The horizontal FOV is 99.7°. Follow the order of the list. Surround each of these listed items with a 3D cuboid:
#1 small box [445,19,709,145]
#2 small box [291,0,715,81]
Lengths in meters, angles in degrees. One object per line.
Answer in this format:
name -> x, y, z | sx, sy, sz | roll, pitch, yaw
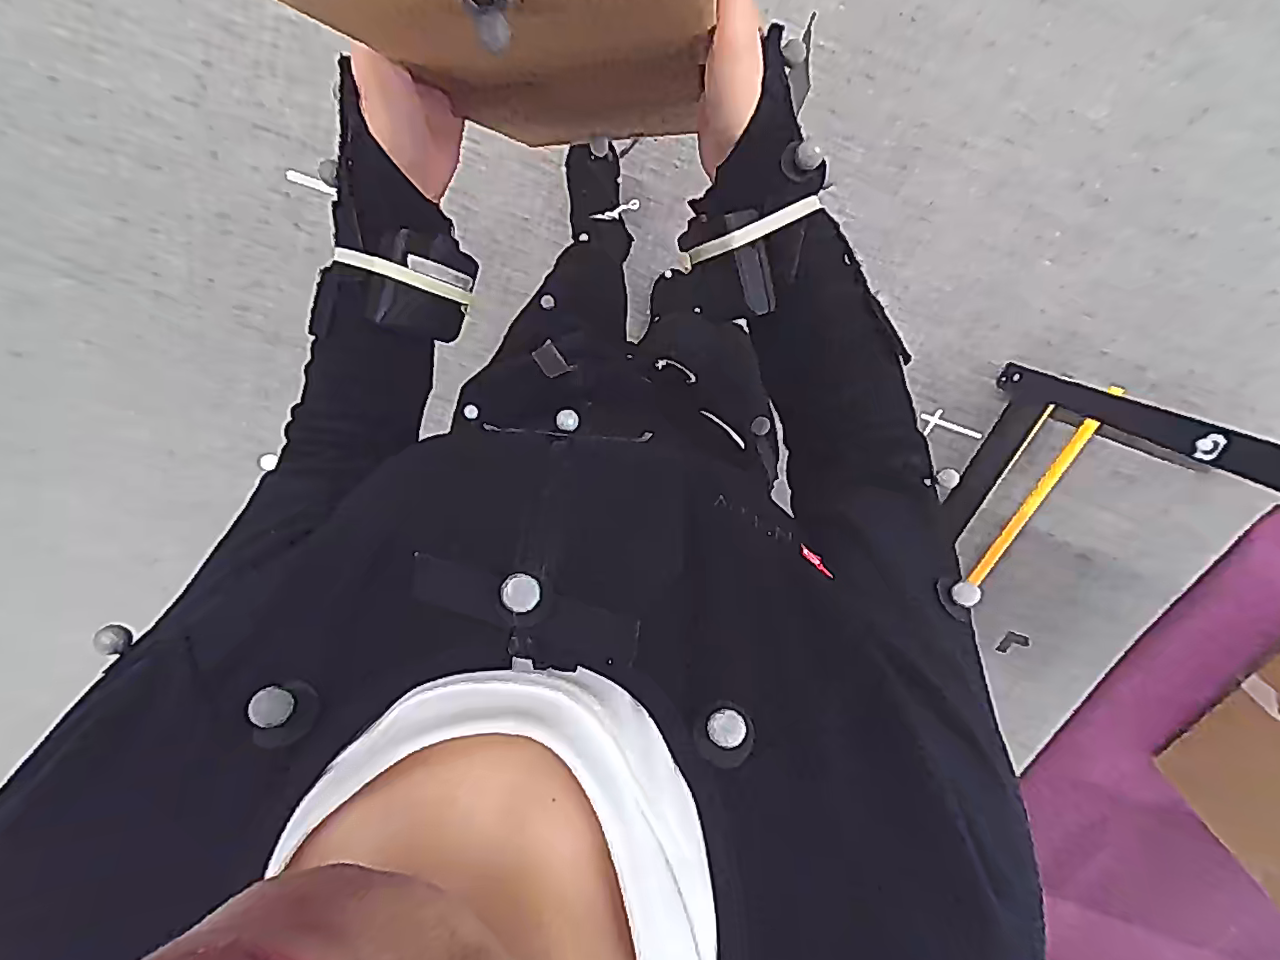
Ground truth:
small box -> -0.036, -0.354, 0.380 | 0.168, 0.176, 0.179 | 1, 115, 9
small box -> -0.054, -0.294, 0.230 | 0.179, 0.176, 0.168 | 0, 115, 10
